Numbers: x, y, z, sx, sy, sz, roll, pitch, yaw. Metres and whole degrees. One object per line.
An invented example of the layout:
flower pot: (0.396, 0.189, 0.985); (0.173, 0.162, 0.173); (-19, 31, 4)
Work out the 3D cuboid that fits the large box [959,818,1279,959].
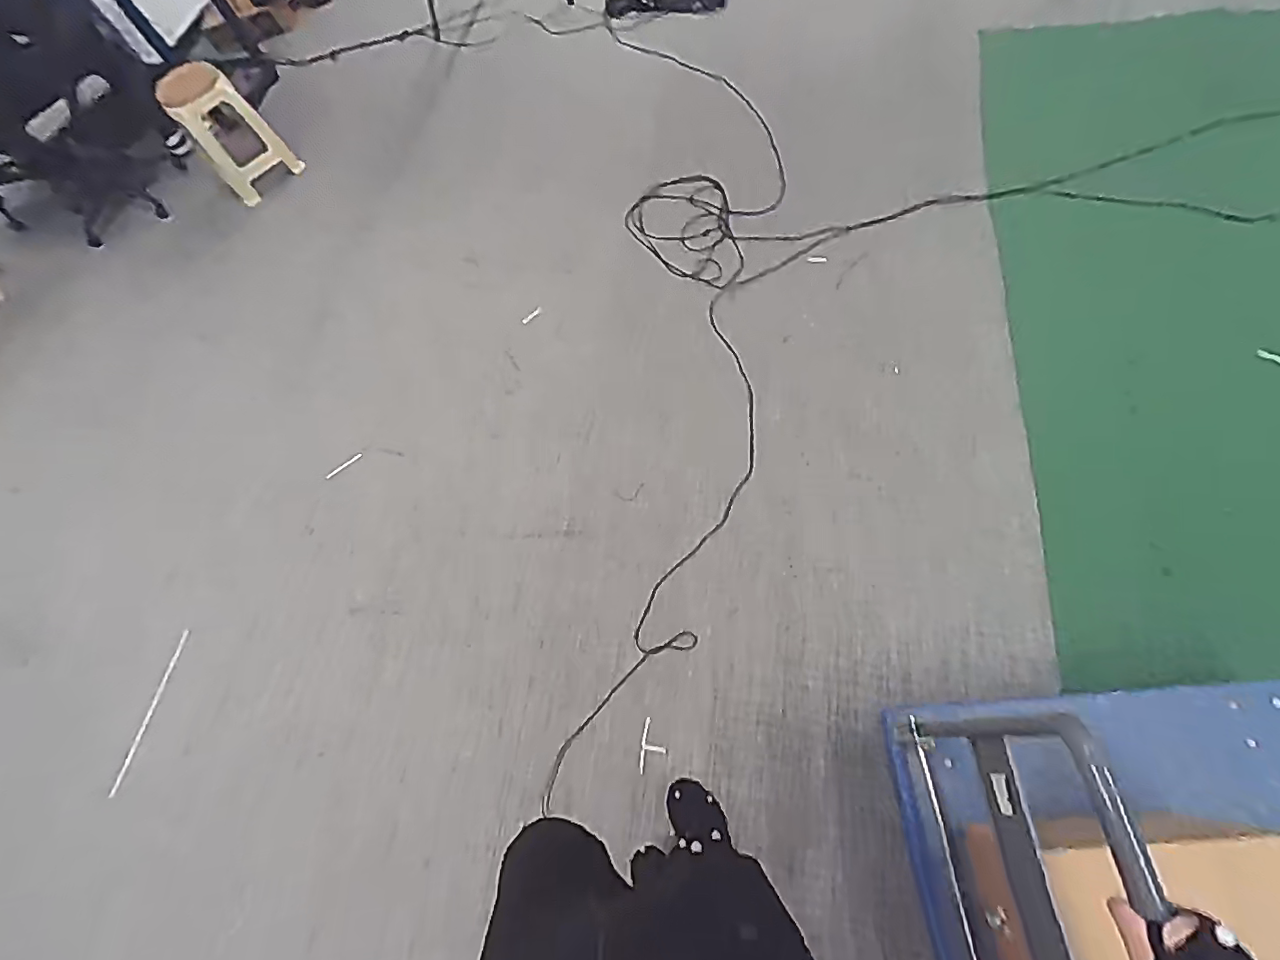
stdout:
large box: (0.822, 0.750, 0.868); (0.408, 0.320, 0.320); (-7, 63, 5)
